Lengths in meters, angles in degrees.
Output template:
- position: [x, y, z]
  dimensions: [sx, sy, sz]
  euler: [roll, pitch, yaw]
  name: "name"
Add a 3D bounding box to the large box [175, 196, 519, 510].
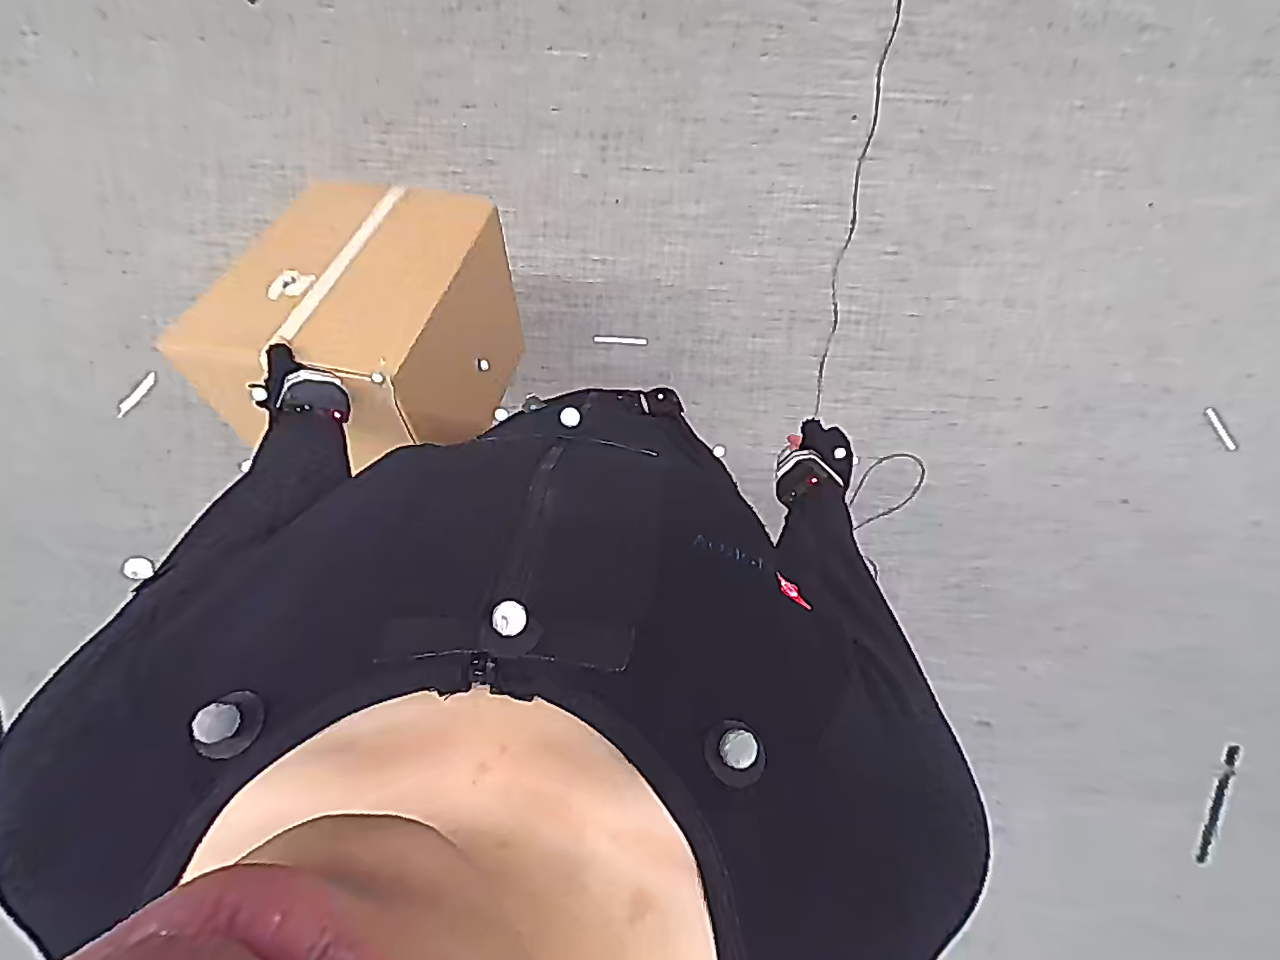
- position: [-0.426, -0.215, 0.920]
  dimensions: [0.320, 0.320, 0.408]
  euler: [9, 56, 5]
  name: "large box"
